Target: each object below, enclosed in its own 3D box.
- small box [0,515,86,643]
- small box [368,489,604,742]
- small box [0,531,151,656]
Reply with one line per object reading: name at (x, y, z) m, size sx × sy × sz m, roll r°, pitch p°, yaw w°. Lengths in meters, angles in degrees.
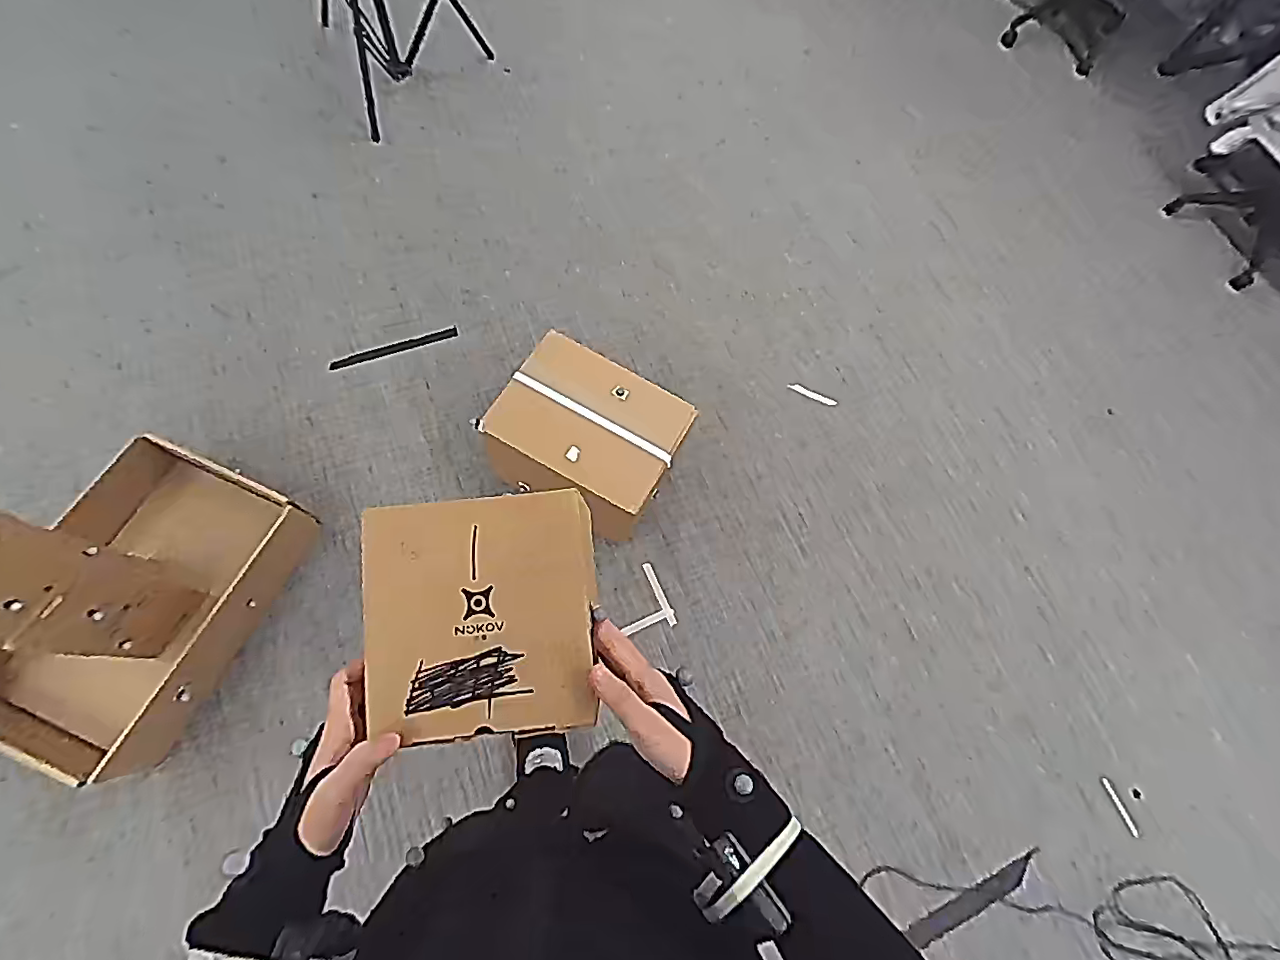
small box at (-1.060, 0.140, 0.843) m, size 0.179 × 0.176 × 0.168 m, roll 27°, pitch 68°, yaw 4°
small box at (-0.121, 0.108, 0.482) m, size 0.168 × 0.176 × 0.179 m, roll -5°, pitch 82°, yaw -4°
small box at (-1.075, 0.207, 0.992) m, size 0.179 × 0.176 × 0.168 m, roll 28°, pitch 68°, yaw 4°
